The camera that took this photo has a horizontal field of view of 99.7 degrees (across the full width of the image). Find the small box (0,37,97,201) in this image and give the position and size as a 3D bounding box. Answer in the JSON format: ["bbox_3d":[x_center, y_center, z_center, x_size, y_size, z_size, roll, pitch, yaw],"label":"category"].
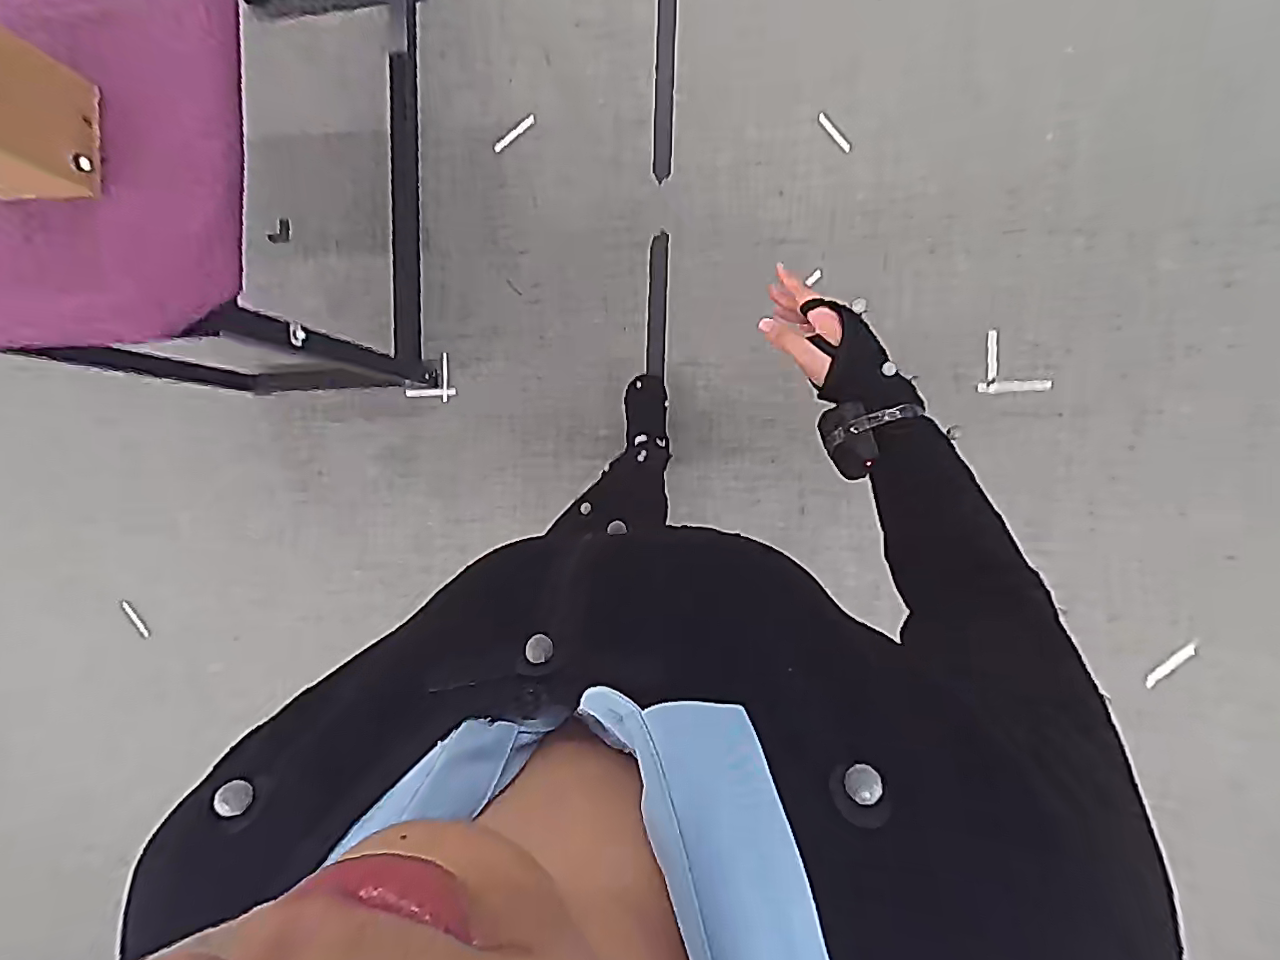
[{"bbox_3d":[-0.924,-0.515,0.761,0.179,0.176,0.168,1,91,7],"label":"small box"}]
